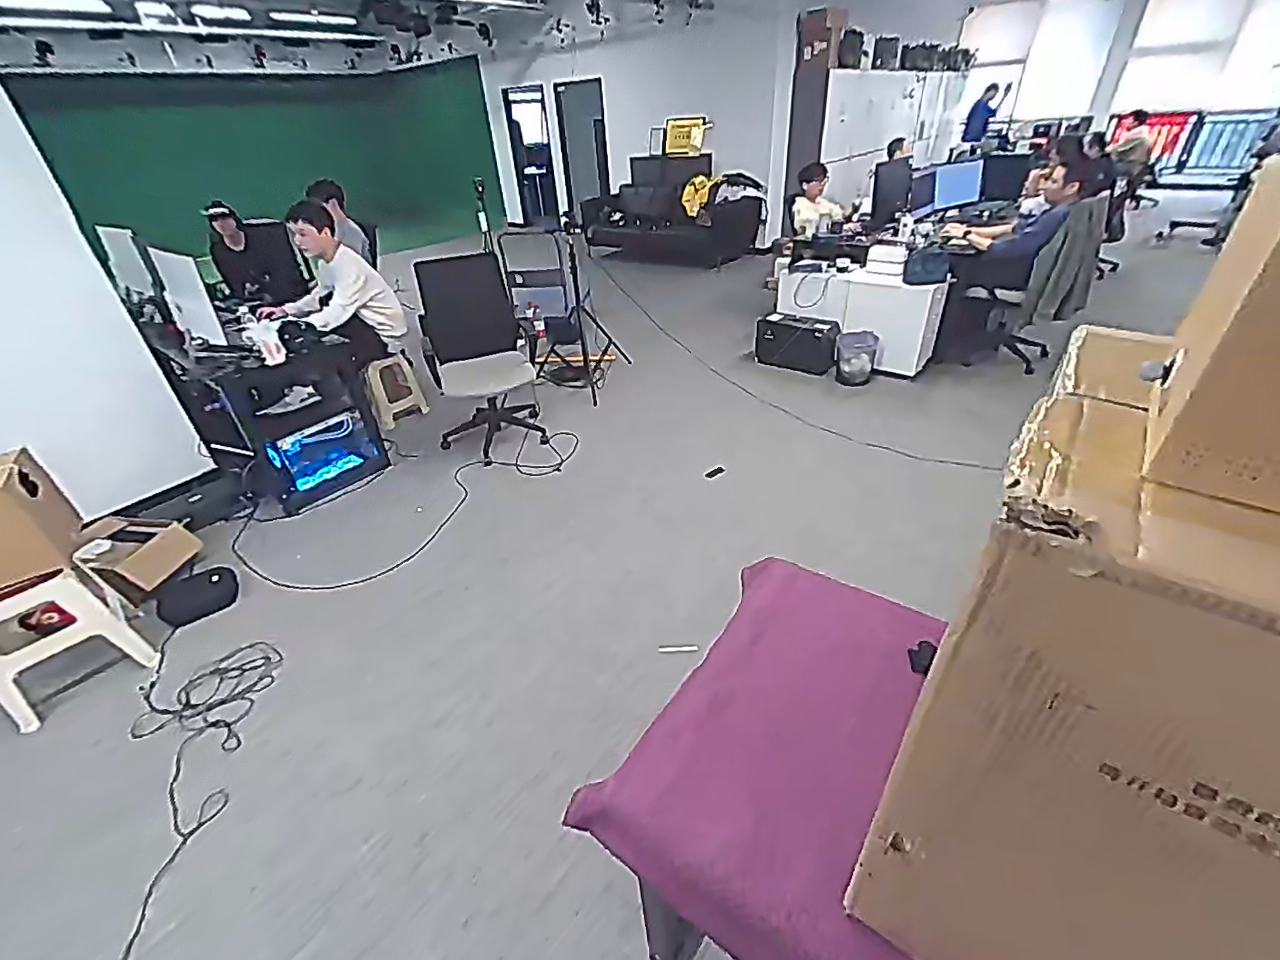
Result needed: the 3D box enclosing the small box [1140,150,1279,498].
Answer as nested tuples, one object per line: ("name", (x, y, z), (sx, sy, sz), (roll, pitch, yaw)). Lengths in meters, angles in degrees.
("small box", (0.435, -0.082, 0.304), (0.179, 0.176, 0.168), (21, 41, 32))
